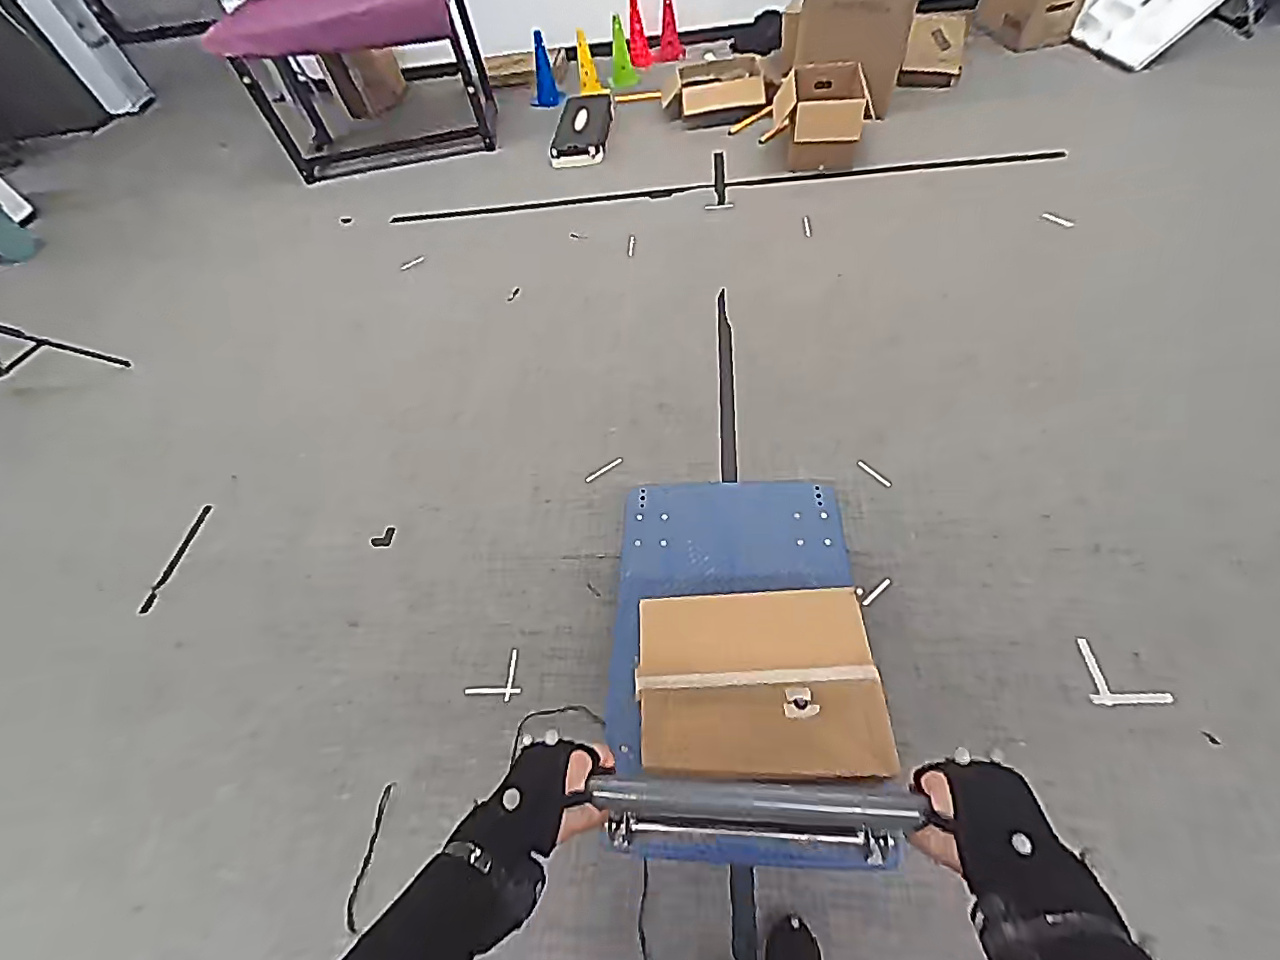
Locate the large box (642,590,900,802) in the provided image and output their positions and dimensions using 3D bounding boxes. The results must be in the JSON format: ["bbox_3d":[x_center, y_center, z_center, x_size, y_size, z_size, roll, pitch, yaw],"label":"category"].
[{"bbox_3d":[0.221,0.433,1.062,0.408,0.320,0.320,-4,55,4],"label":"large box"}]
